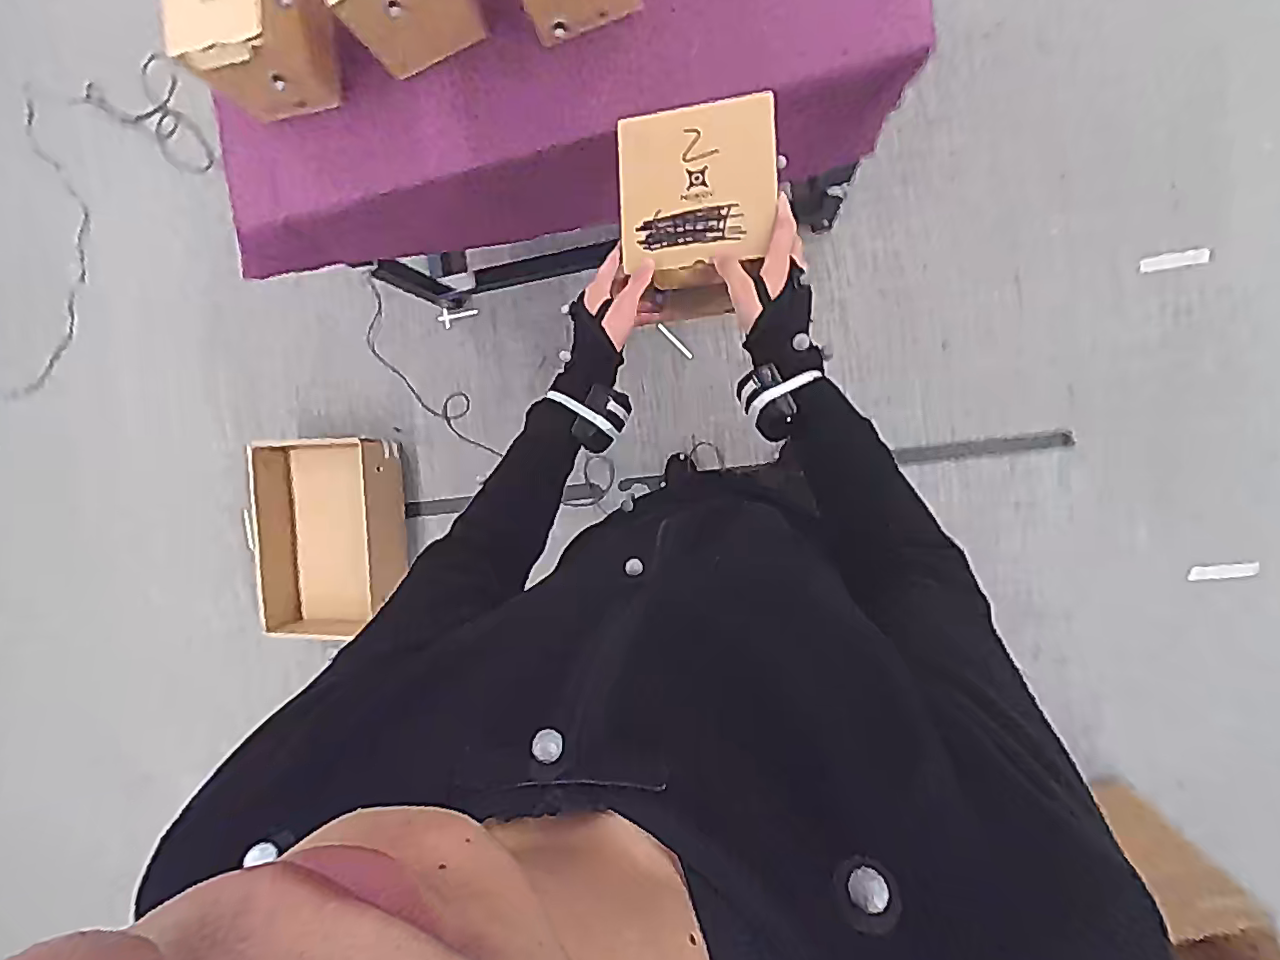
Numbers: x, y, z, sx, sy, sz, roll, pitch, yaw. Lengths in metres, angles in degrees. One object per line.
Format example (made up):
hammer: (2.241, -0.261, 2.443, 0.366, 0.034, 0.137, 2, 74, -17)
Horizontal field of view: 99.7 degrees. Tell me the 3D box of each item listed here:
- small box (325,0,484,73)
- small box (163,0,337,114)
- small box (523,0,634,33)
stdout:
small box: (-0.372, -0.781, 0.828, 0.179, 0.176, 0.168, -17, 91, 11)
small box: (-0.623, -0.732, 0.879, 0.168, 0.176, 0.179, -3, 93, 10)
small box: (-0.112, -0.800, 0.779, 0.168, 0.176, 0.179, -13, 91, 11)
